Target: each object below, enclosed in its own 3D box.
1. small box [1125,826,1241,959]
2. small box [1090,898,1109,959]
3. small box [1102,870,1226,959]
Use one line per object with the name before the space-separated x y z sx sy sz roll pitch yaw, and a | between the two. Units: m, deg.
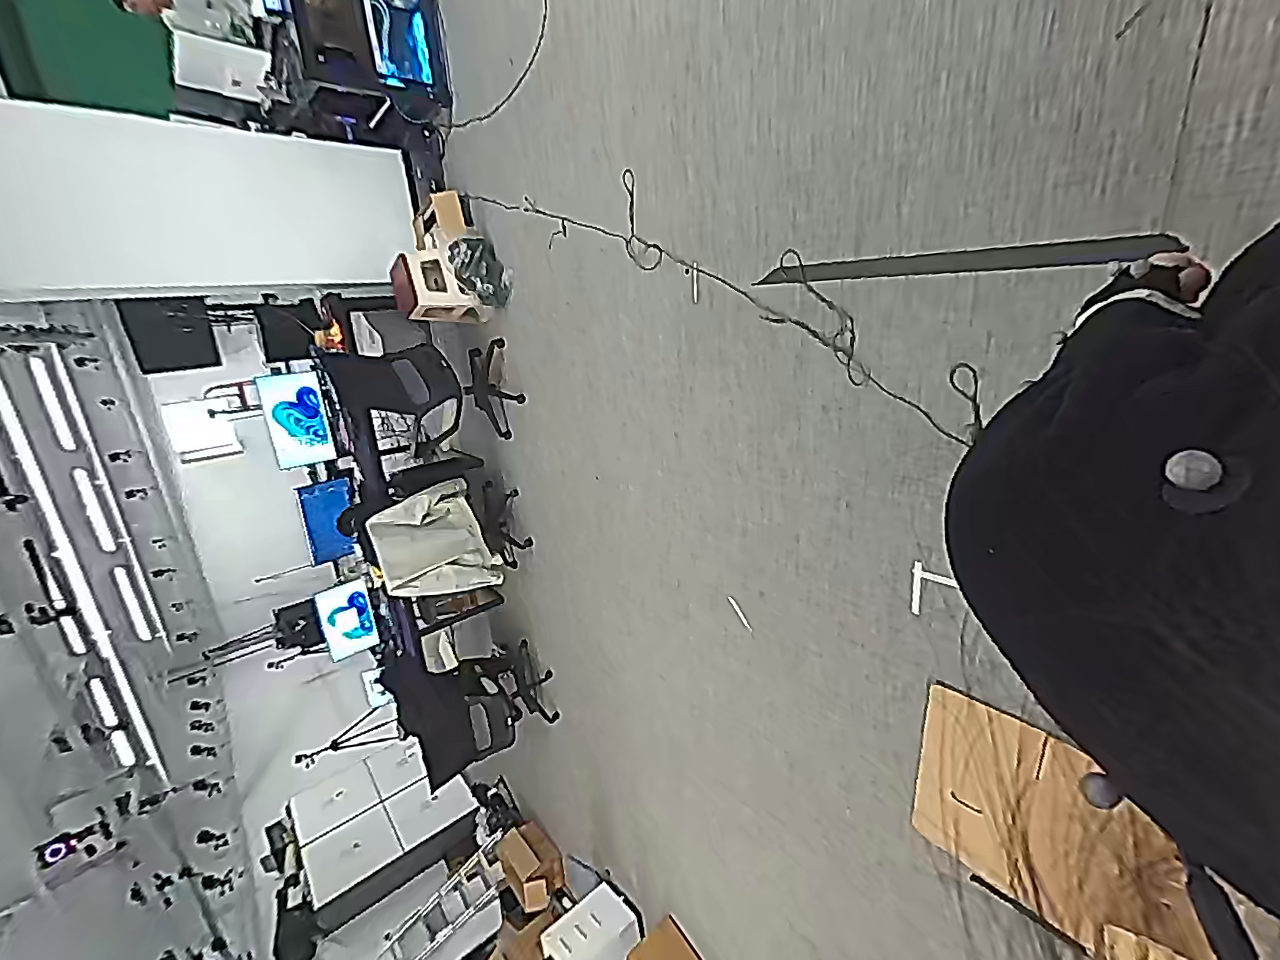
small box | 1.212 0.927 1.208 0.168 0.176 0.179 -3 101 52
small box | 1.217 1.188 1.312 0.168 0.176 0.179 4 107 50
small box | 1.083 0.973 1.115 0.168 0.176 0.179 -2 102 51
